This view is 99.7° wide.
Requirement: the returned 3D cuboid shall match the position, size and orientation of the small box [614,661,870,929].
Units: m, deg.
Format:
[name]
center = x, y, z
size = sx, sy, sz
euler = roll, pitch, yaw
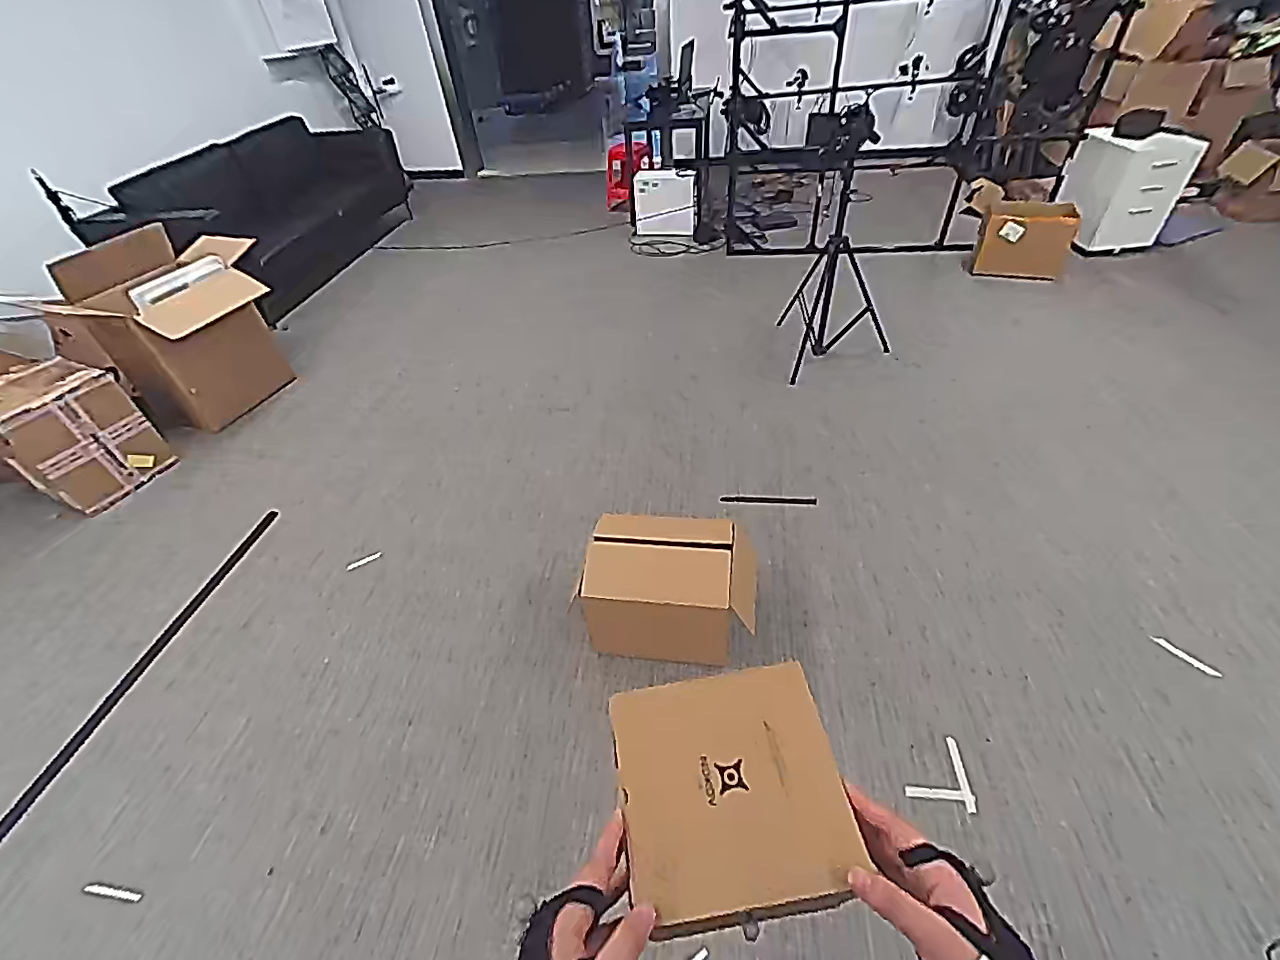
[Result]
[small box]
center = 0.080, 0.293, 0.499
size = 0.179, 0.176, 0.168
euler = -10, 48, -2
